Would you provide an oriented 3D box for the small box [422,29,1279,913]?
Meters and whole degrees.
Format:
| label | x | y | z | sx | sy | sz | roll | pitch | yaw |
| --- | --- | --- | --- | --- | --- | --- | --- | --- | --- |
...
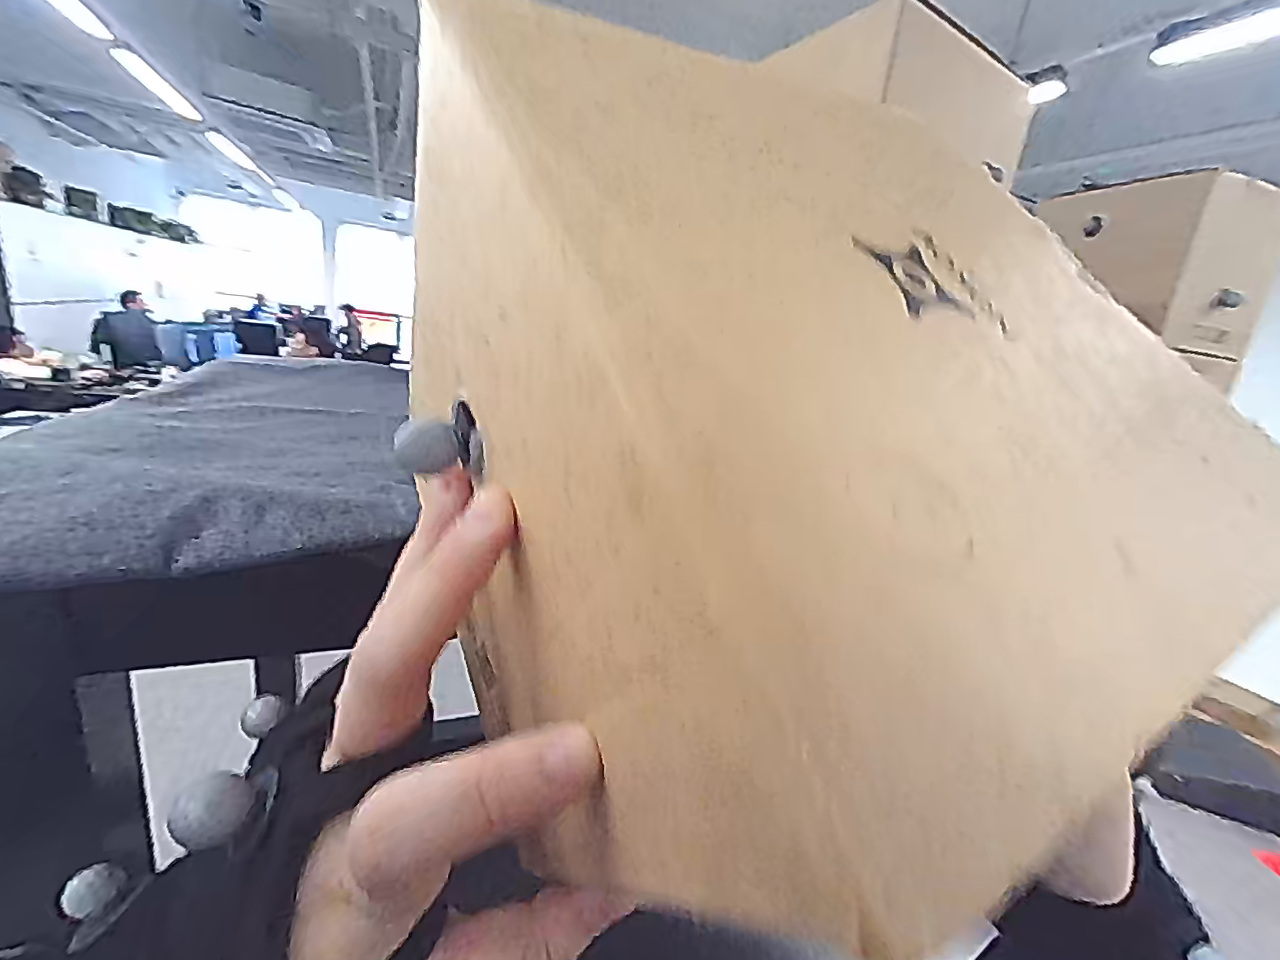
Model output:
| label | x | y | z | sx | sy | sz | roll | pitch | yaw |
| --- | --- | --- | --- | --- | --- | --- | --- | --- | --- |
| small box | 0.035 | 0.002 | 0.183 | 0.179 | 0.176 | 0.168 | -12 | 64 | -29 |

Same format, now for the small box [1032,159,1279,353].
| label | x | y | z | sx | sy | sz | roll | pitch | yaw |
| --- | --- | --- | --- | --- | --- | --- | --- | --- | --- |
| small box | 0.577 | -0.248 | 0.638 | 0.168 | 0.176 | 0.179 | 0 | 16 | -20 |

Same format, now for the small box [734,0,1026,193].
| label | x | y | z | sx | sy | sz | roll | pitch | yaw |
| --- | --- | --- | --- | --- | --- | --- | --- | --- | --- |
| small box | 0.182 | -0.249 | 0.464 | 0.179 | 0.176 | 0.168 | -3 | 16 | -32 |
